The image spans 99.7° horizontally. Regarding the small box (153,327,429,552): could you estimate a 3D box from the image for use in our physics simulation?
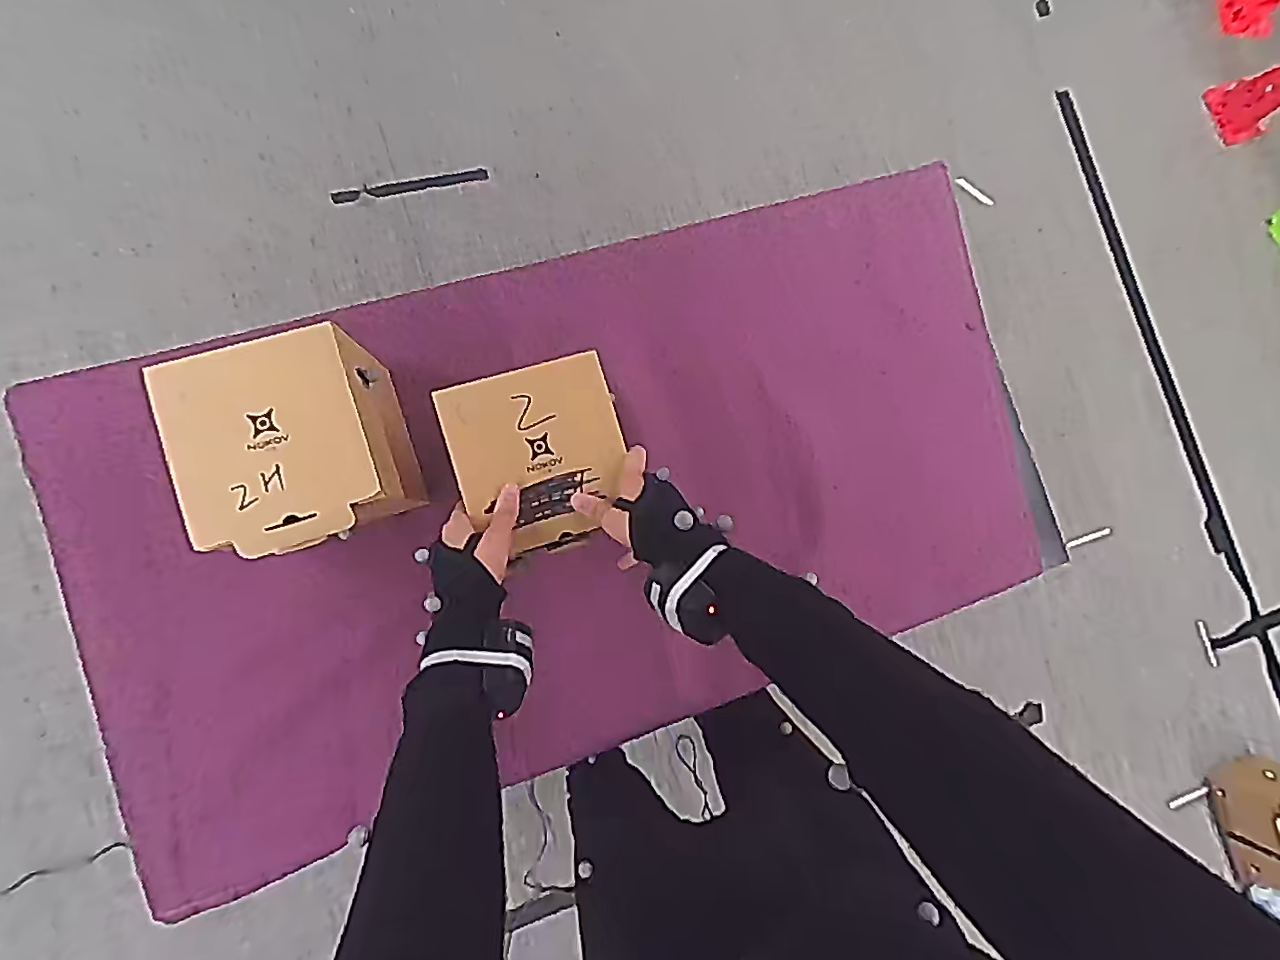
[{"bbox_3d":[-0.345,-0.032,0.571,0.168,0.176,0.179,-18,88,-8],"label":"small box"}]
